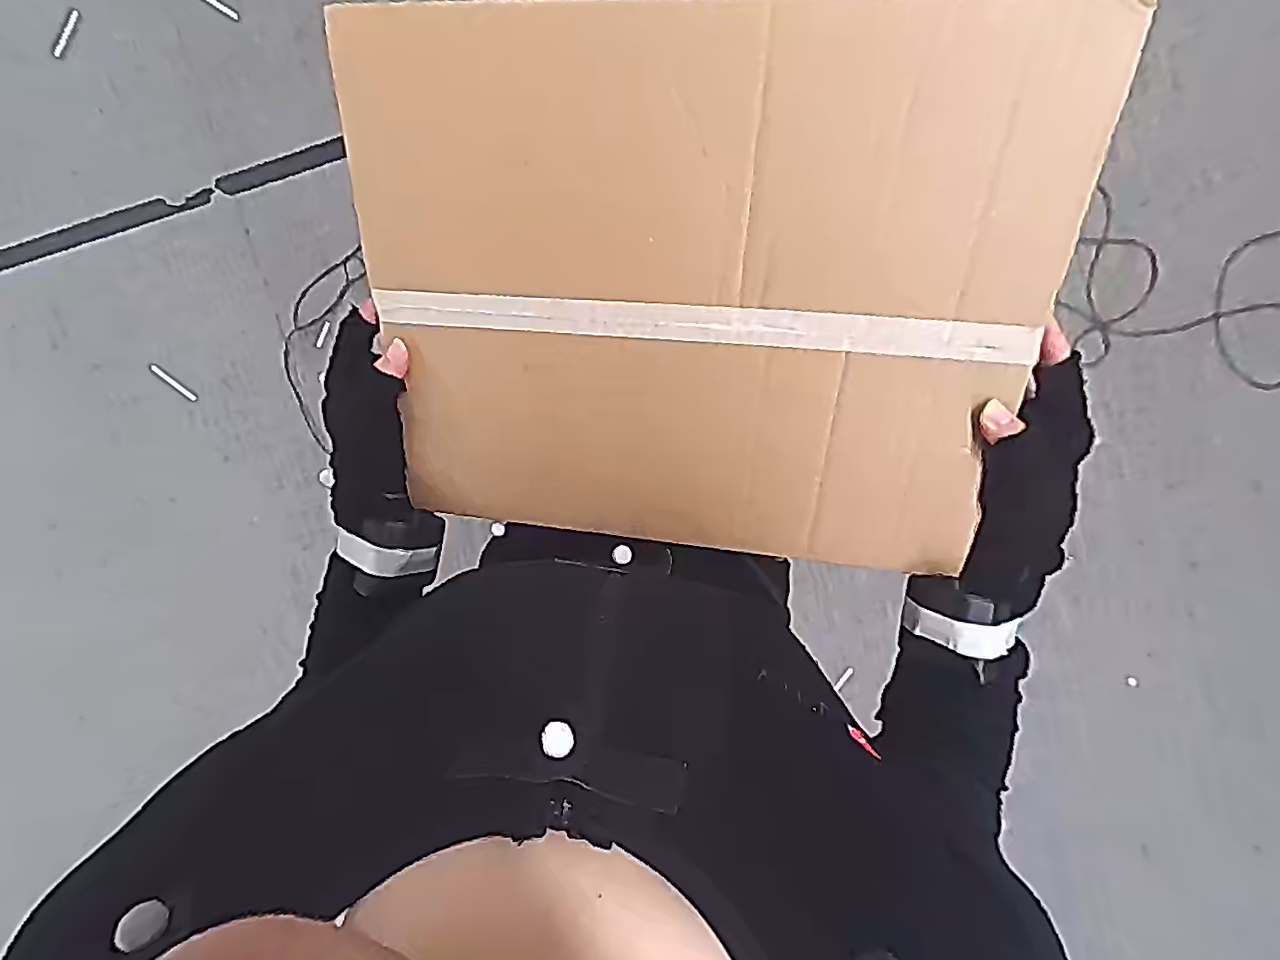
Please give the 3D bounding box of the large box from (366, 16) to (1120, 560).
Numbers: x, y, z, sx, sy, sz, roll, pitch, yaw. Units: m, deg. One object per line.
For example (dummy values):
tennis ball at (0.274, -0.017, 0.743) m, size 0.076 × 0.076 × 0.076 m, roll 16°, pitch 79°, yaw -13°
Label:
large box at (0.054, -0.160, 0.480) m, size 0.408 × 0.320 × 0.320 m, roll 6°, pitch 117°, yaw 9°
